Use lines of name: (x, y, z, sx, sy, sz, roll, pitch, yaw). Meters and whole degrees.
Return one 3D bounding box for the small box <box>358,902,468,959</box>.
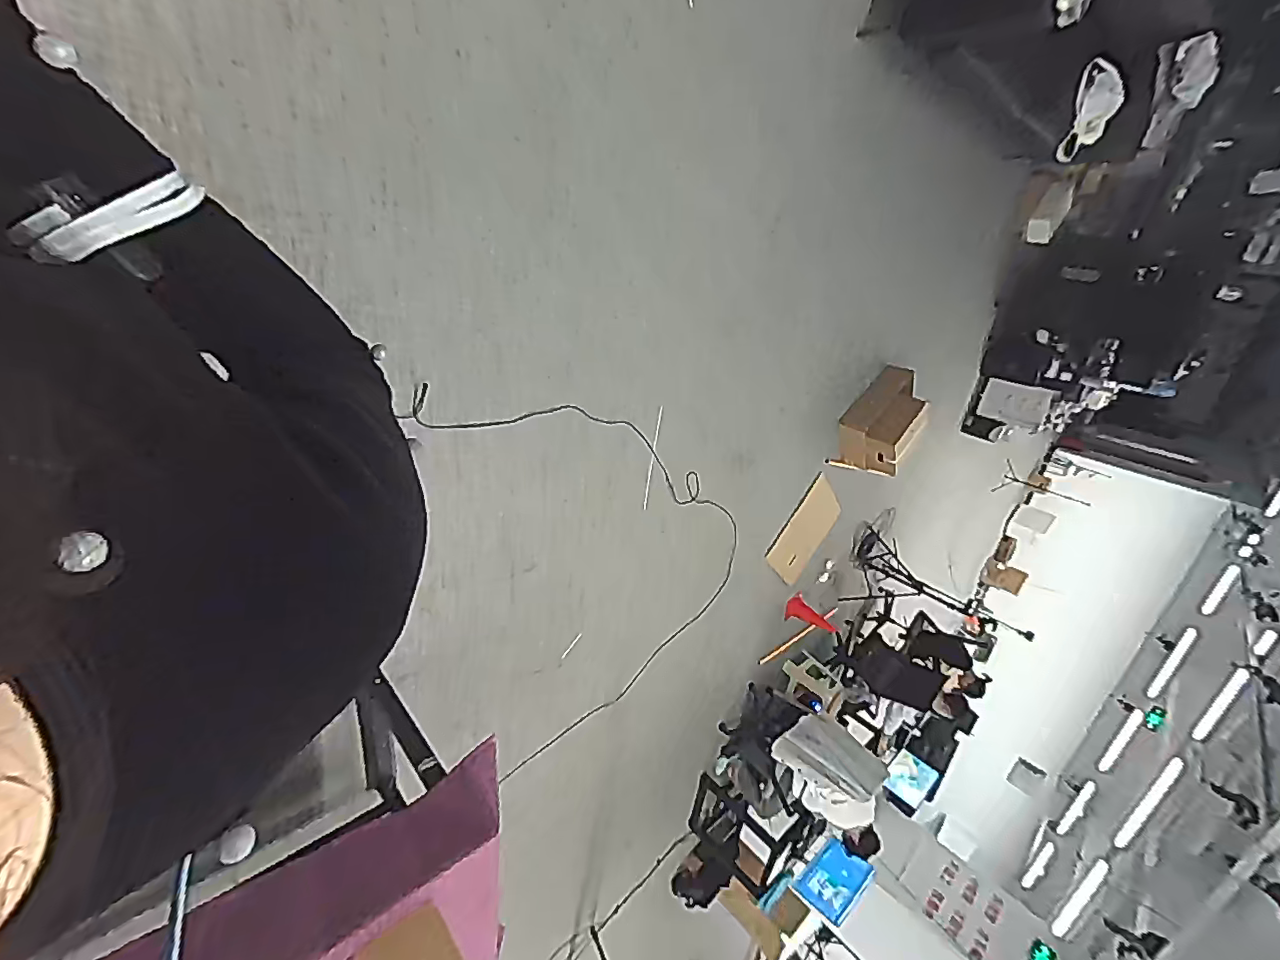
small box: (-0.486, 1.078, 1.166, 0.179, 0.176, 0.168, -11, 120, -43)
